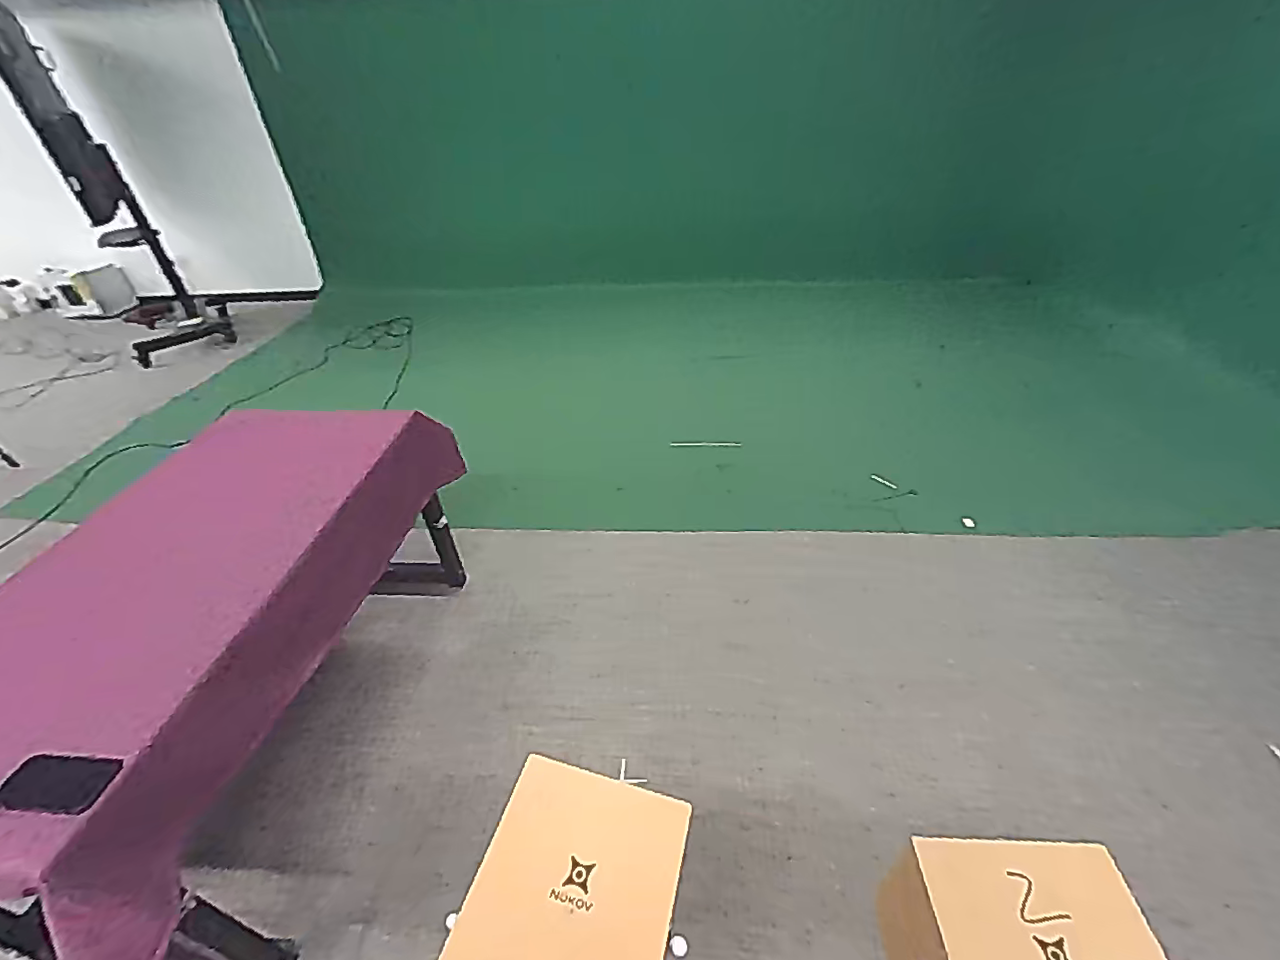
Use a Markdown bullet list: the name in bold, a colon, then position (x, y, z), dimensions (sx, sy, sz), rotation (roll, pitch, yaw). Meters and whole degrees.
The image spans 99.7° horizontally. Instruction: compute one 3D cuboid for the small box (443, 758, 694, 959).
- **small box**: position (-0.056, 0.401, 0.498), dimensions (0.168, 0.176, 0.179), rotation (12, 38, 10)
